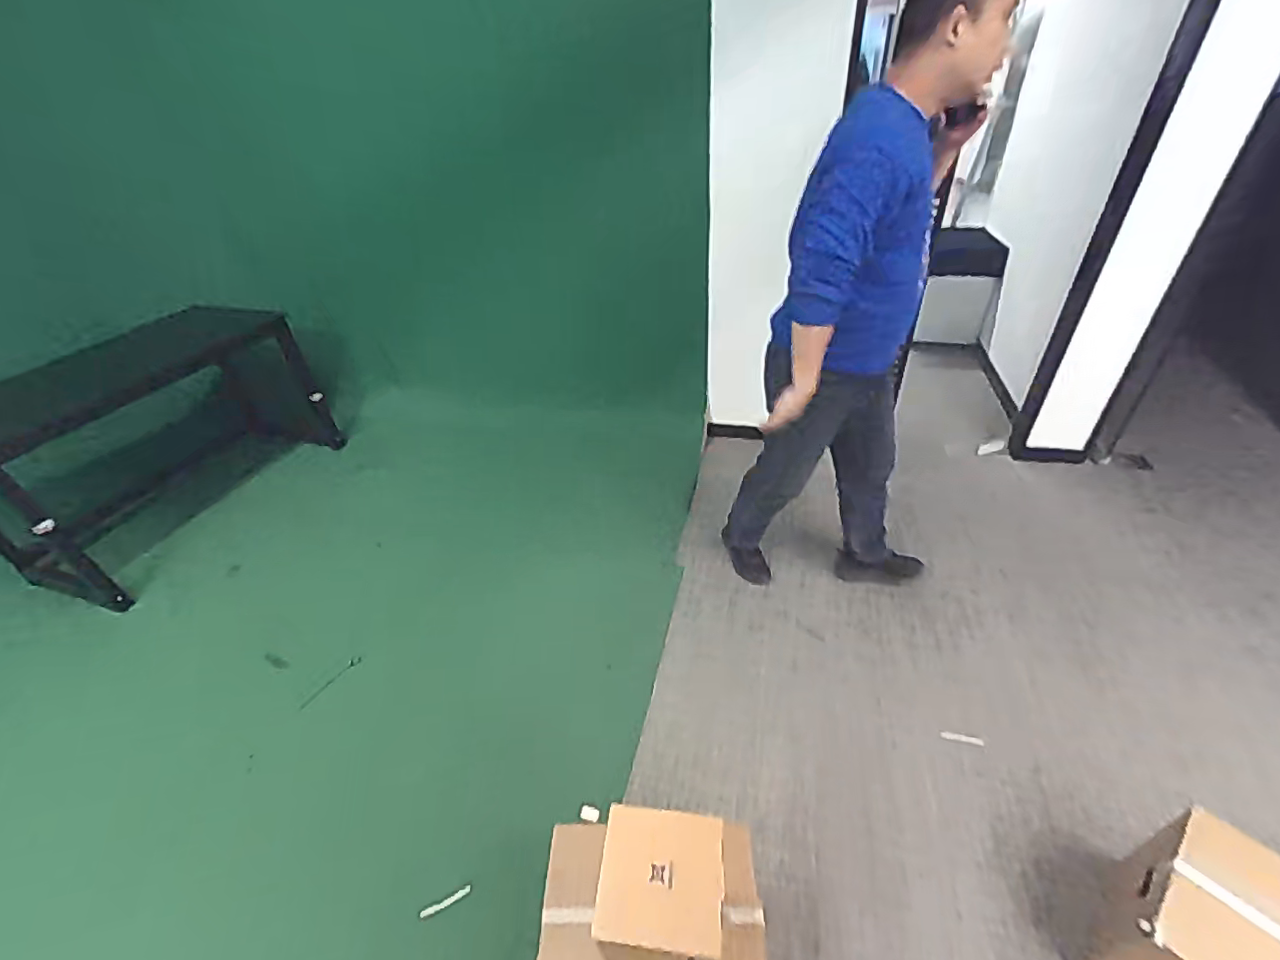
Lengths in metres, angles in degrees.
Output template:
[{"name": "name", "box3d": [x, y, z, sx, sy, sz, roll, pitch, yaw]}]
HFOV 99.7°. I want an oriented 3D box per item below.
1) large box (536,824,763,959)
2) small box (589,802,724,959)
[{"name": "large box", "box3d": [0.027, 0.919, 1.072, 0.408, 0.320, 0.320, -3, 36, 3]}, {"name": "small box", "box3d": [0.034, 0.610, 0.803, 0.179, 0.176, 0.168, 3, 38, 7]}]
